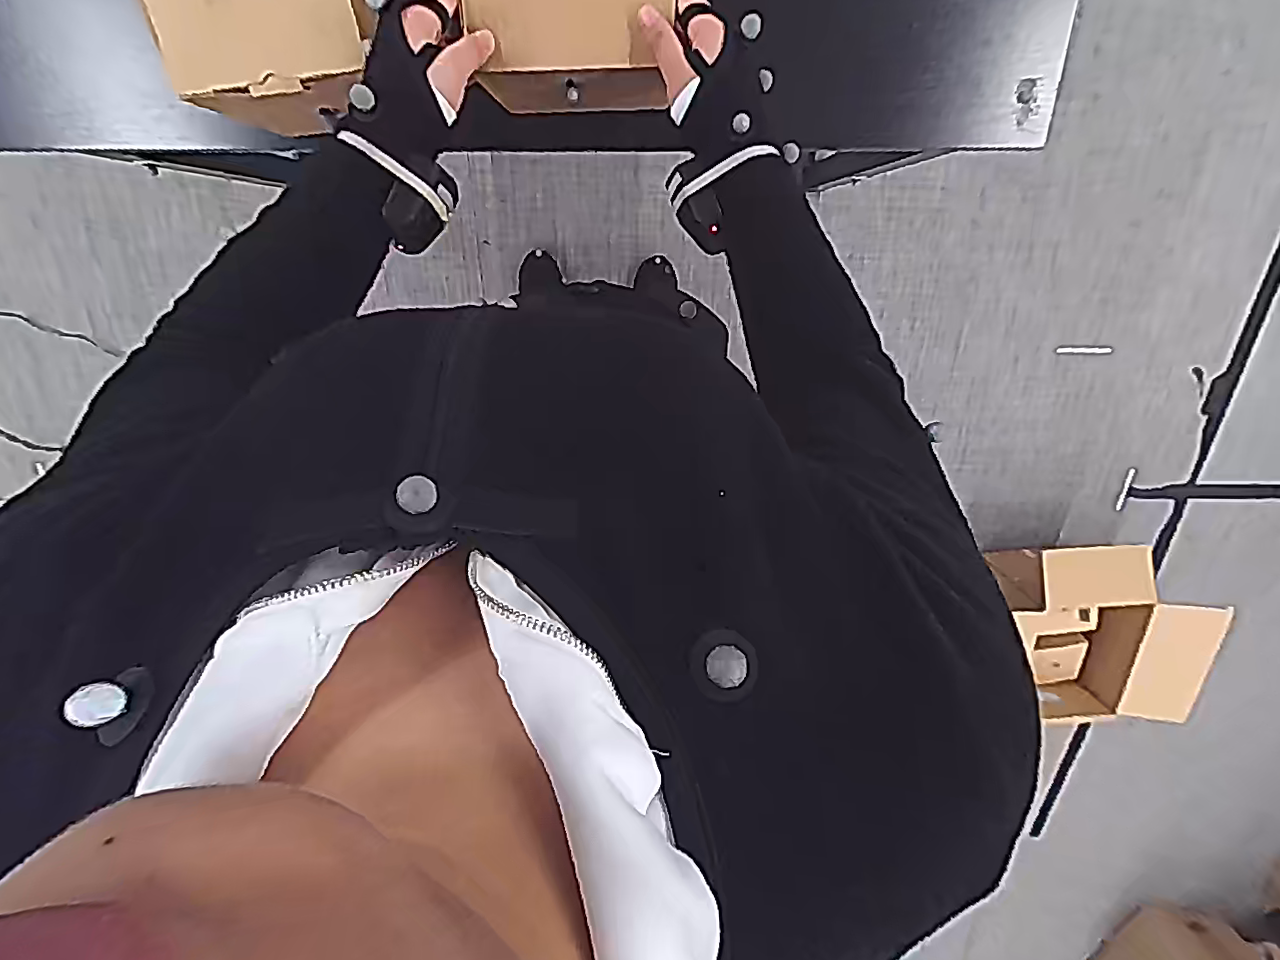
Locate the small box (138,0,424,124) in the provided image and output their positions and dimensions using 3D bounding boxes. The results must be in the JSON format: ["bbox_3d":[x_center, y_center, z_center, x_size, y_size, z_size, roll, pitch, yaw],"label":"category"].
[{"bbox_3d":[-0.317,-0.439,0.487,0.168,0.176,0.179,-7,113,1],"label":"small box"}]

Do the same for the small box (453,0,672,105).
[{"bbox_3d":[-0.061,-0.448,0.481,0.179,0.176,0.168,-1,115,1],"label":"small box"}]
